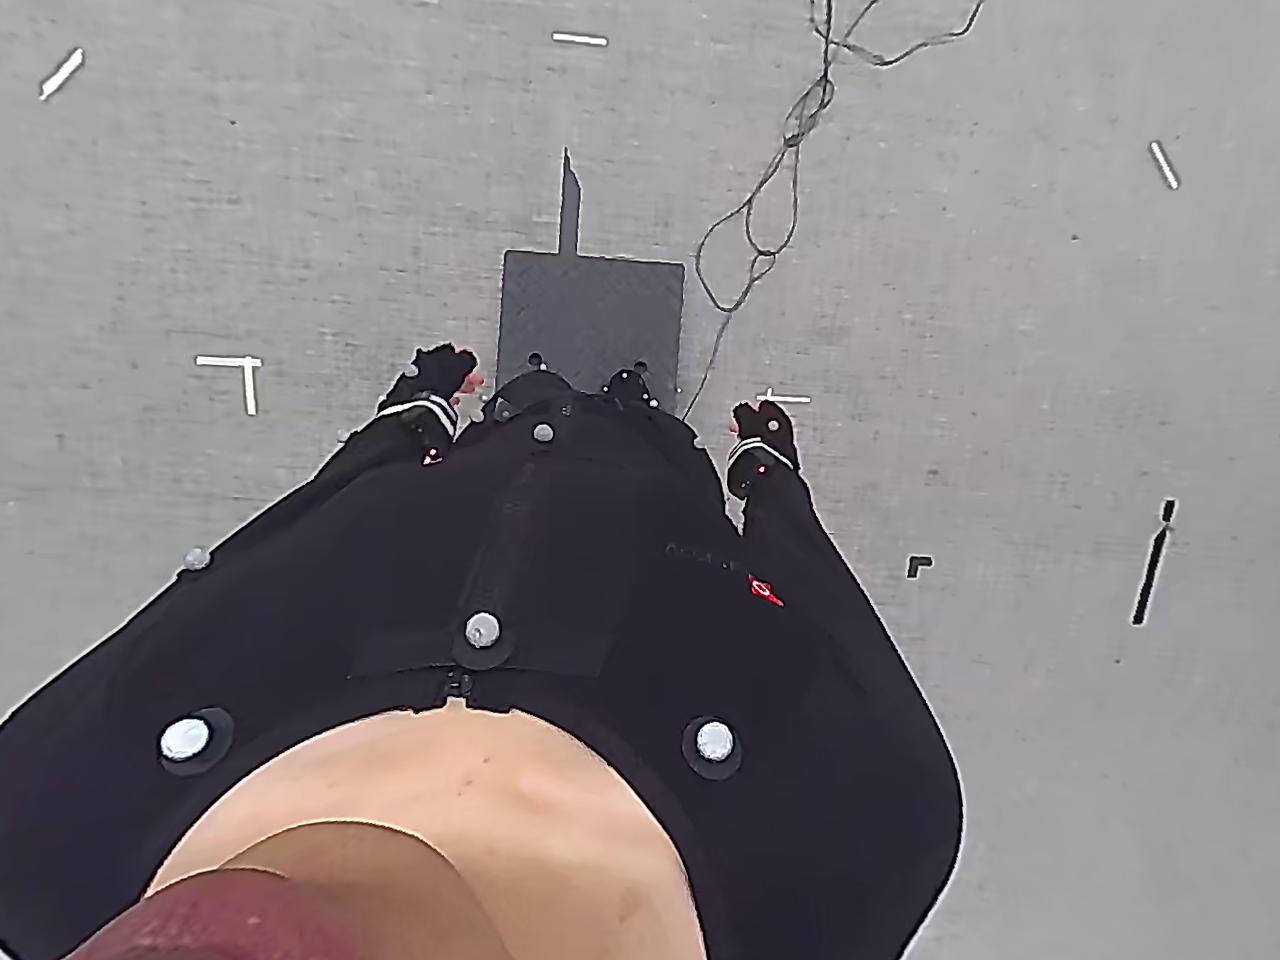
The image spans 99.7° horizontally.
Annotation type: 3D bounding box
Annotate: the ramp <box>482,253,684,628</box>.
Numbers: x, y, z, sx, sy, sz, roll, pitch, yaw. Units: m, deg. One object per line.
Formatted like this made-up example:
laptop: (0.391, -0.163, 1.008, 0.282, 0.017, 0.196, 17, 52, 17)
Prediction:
ramp: (-0.153, -0.108, 1.469, 0.509, 0.206, 0.991, 2, 99, -1)
